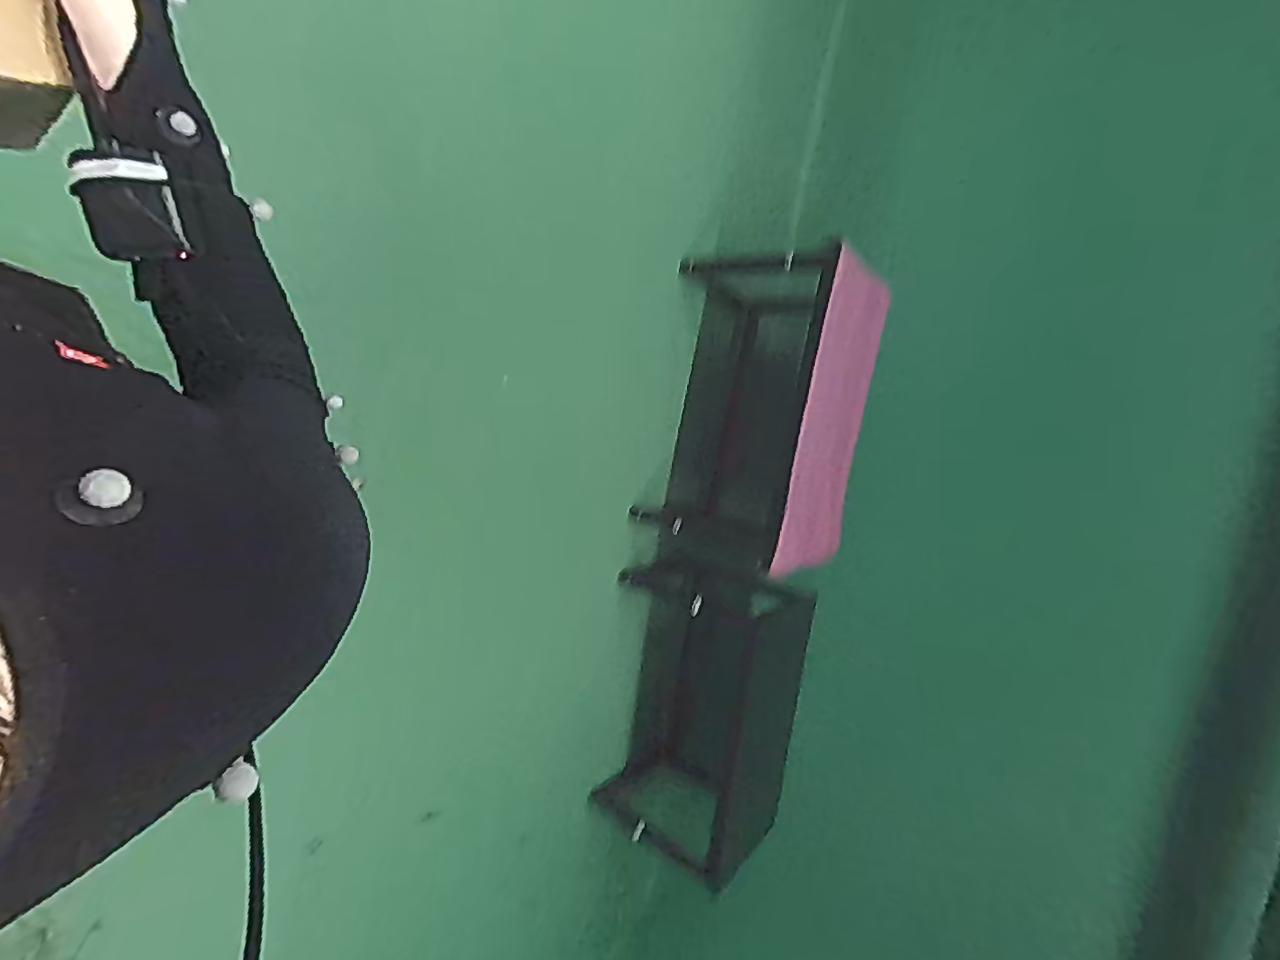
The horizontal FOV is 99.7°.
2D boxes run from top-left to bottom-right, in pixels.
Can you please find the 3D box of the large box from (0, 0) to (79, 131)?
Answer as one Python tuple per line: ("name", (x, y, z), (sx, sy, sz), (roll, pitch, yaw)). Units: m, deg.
("large box", (-0.603, -0.381, 0.236), (0.408, 0.320, 0.320), (-25, 124, -47))
